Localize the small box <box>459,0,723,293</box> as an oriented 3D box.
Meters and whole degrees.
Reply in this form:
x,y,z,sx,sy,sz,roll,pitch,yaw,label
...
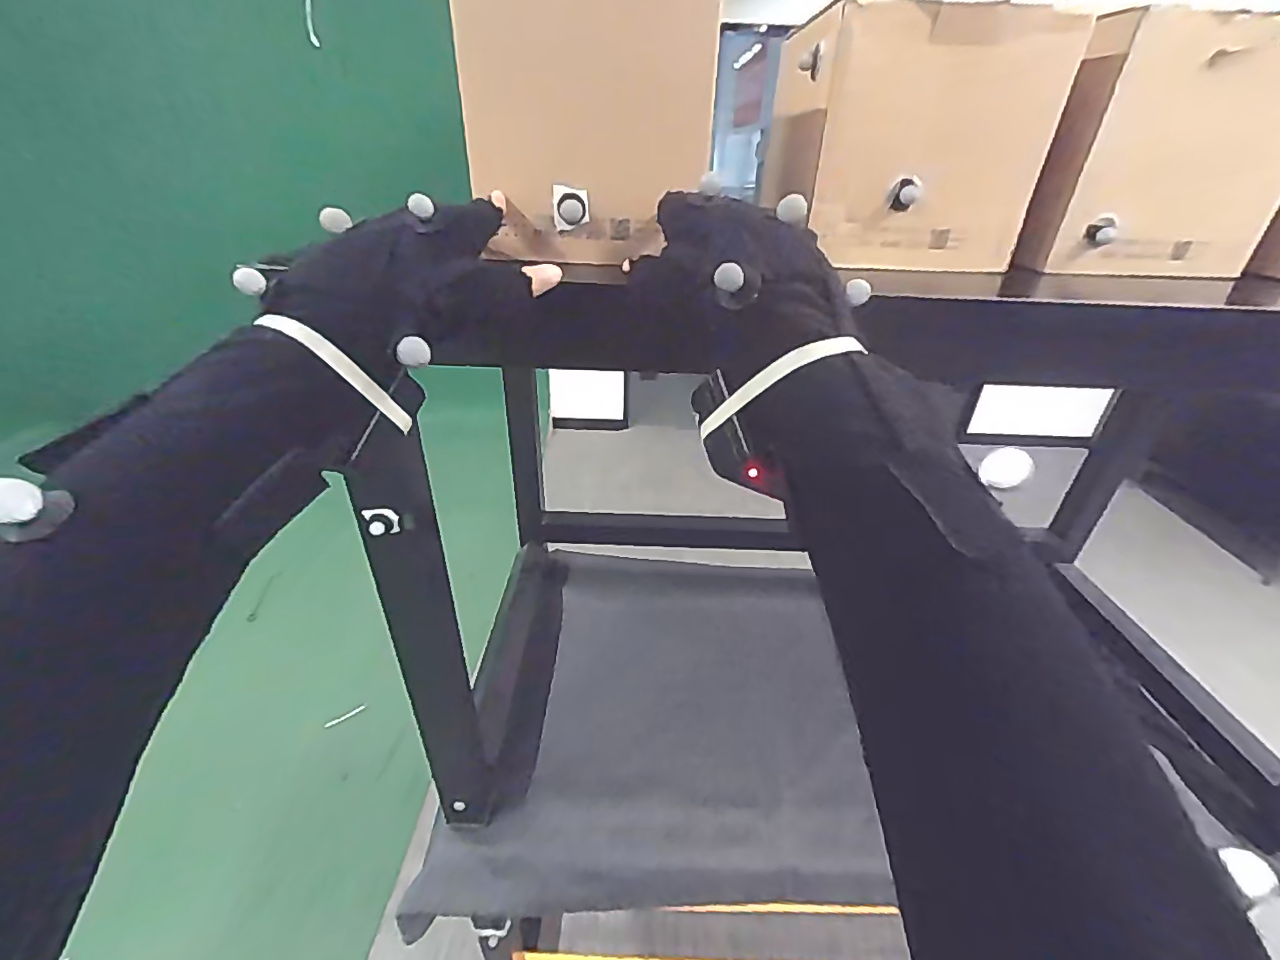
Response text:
x,y,z,sx,sy,sz,roll,pitch,yaw,label
-0.033,-0.260,0.441,0.168,0.176,0.179,0,32,-2,small box
